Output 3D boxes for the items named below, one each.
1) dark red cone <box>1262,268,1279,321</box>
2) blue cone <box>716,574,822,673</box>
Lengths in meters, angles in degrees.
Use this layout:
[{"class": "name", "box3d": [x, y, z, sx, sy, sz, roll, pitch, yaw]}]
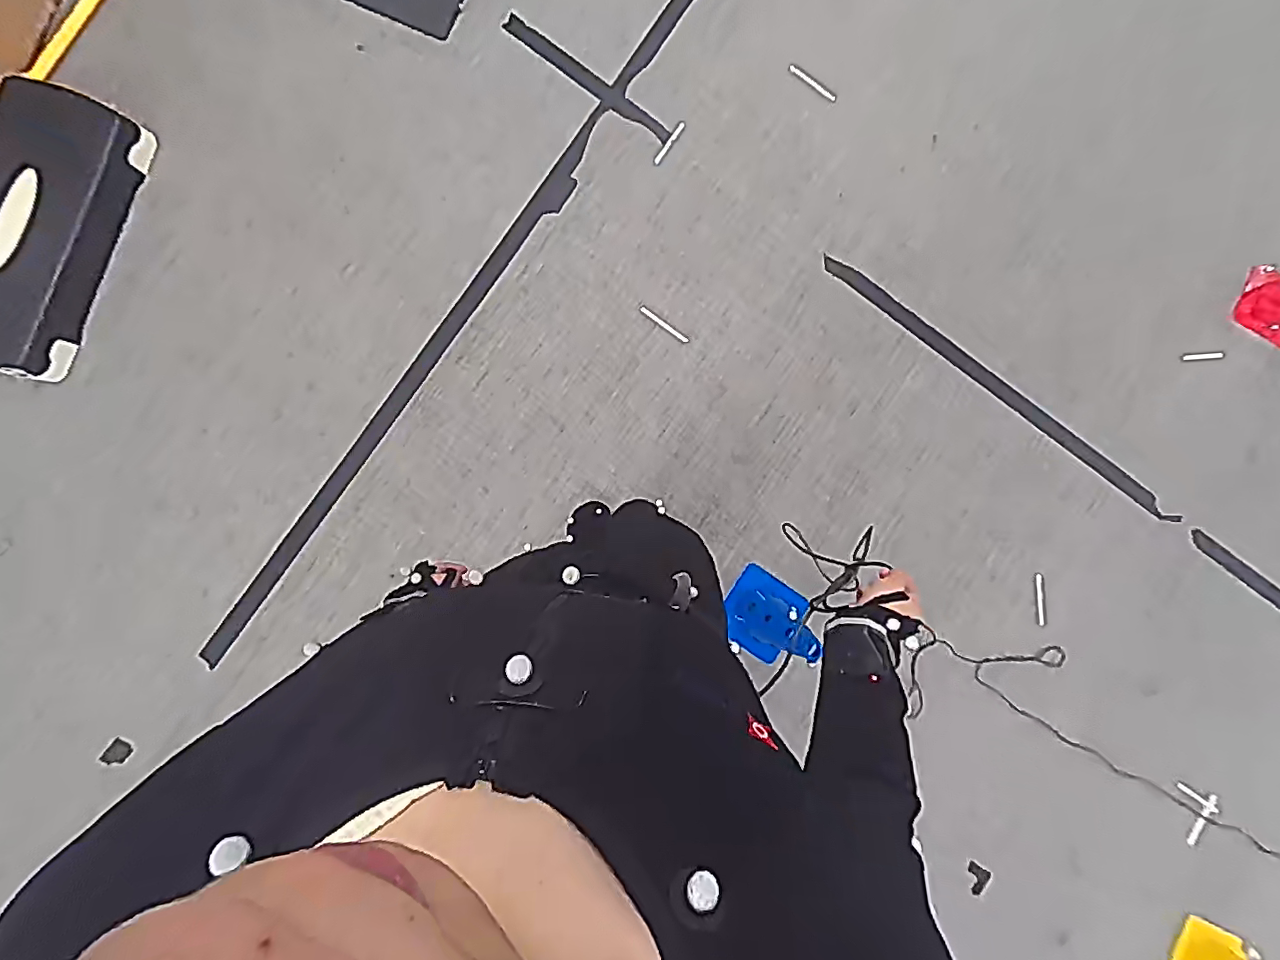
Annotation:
[{"class": "dark red cone", "box3d": [1.853, -0.518, 1.340, 0.202, 0.394, 0.201, 27, 87, -3]}, {"class": "blue cone", "box3d": [0.326, 0.350, 1.224, 0.193, 0.380, 0.192, 36, 87, -2]}]
